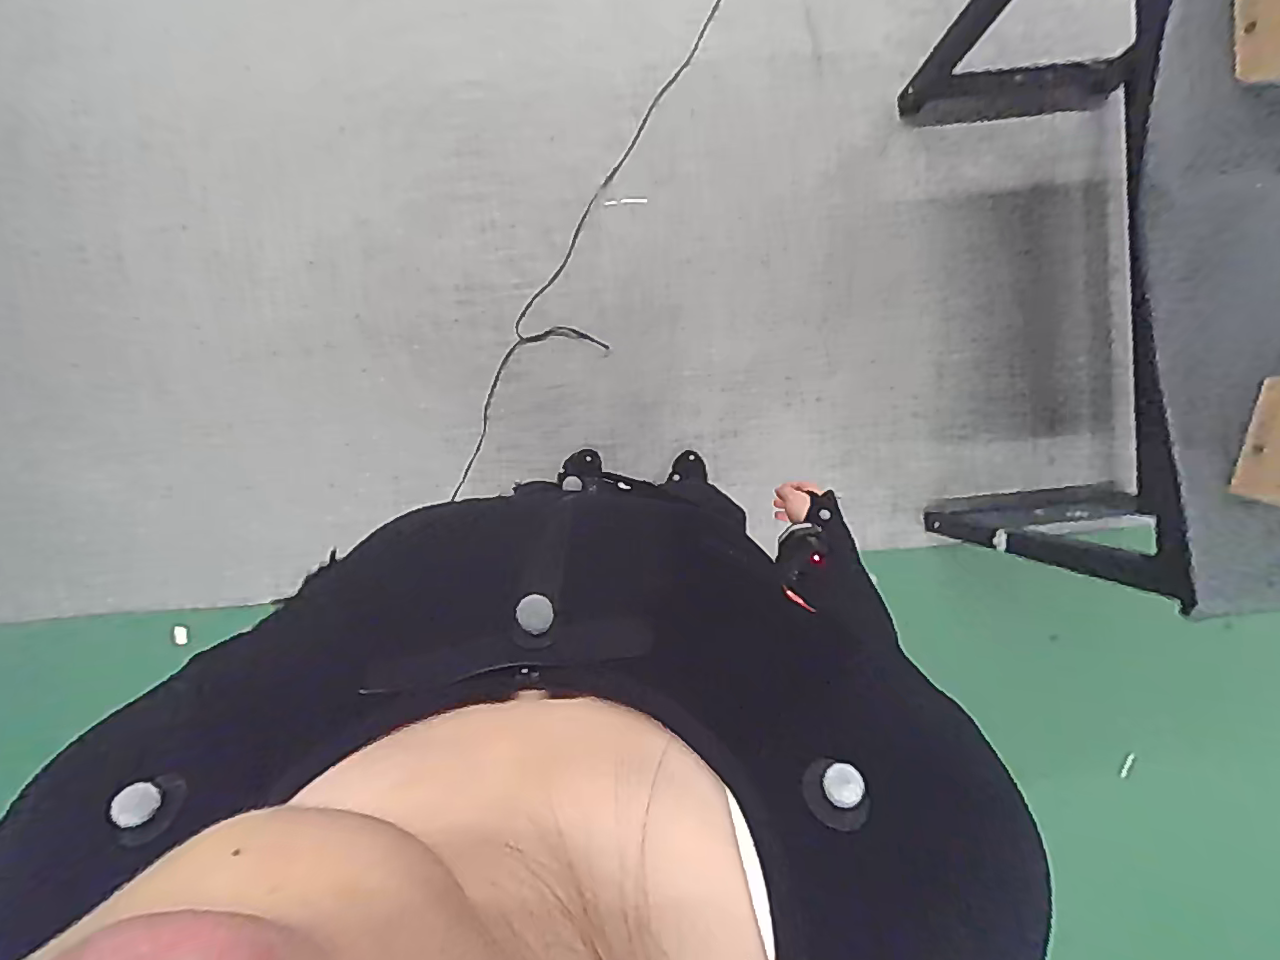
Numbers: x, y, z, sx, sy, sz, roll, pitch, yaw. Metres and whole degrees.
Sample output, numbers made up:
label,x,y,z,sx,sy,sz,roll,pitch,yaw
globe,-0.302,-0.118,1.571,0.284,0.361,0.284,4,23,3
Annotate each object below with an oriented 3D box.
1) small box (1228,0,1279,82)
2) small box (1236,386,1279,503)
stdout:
label,x,y,z,sx,sy,sz,roll,pitch,yaw
small box,0.879,-0.617,0.646,0.179,0.176,0.168,-5,93,-2
small box,0.925,-0.037,0.672,0.179,0.176,0.168,15,93,-4
